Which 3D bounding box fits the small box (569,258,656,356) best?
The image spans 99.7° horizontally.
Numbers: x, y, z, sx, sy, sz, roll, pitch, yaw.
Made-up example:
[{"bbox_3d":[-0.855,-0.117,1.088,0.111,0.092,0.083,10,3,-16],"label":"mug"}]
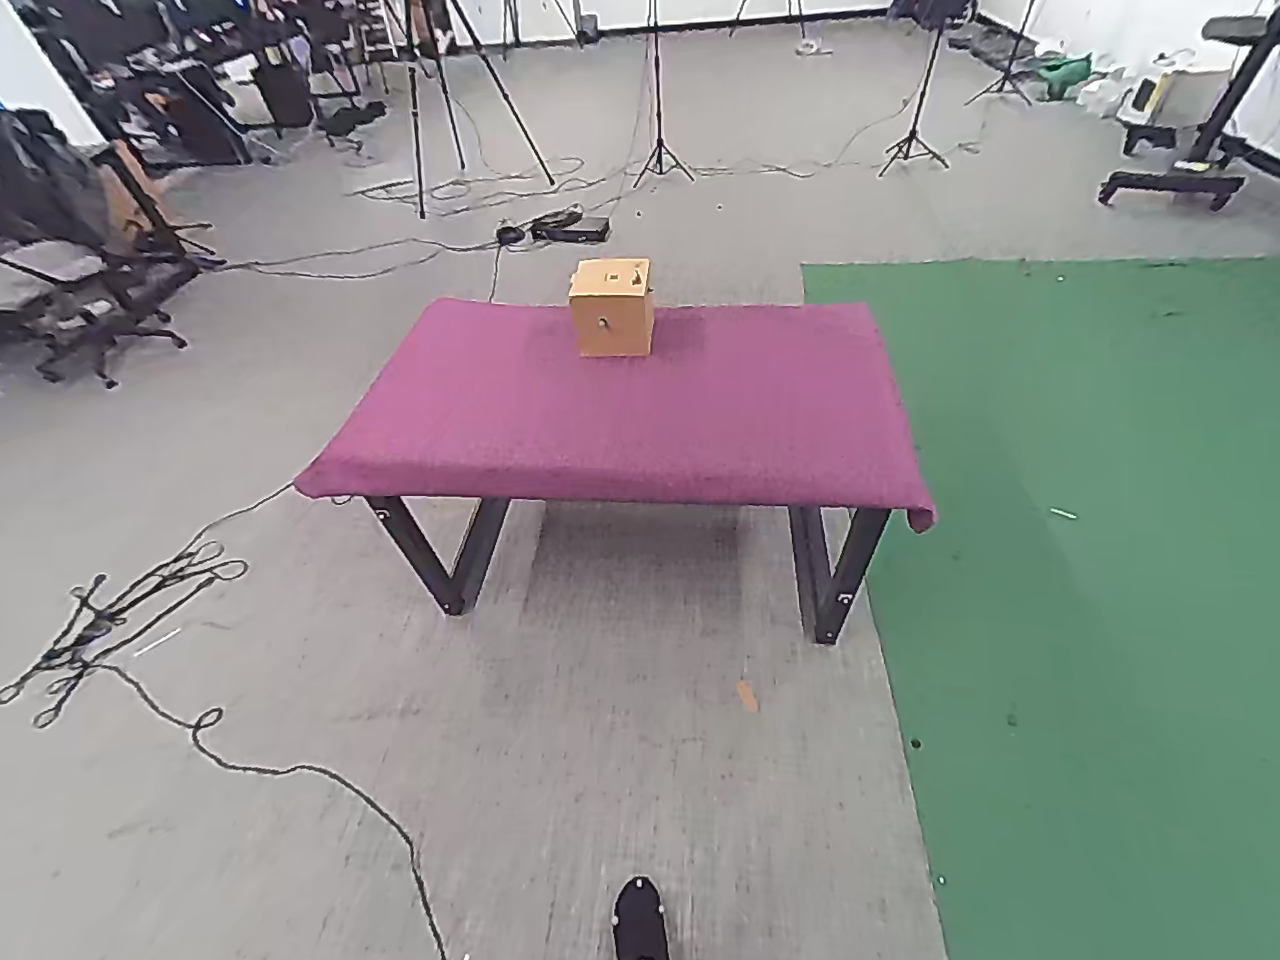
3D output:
[{"bbox_3d":[-0.059,-0.416,1.310,0.179,0.176,0.168,1,50,7],"label":"small box"}]
